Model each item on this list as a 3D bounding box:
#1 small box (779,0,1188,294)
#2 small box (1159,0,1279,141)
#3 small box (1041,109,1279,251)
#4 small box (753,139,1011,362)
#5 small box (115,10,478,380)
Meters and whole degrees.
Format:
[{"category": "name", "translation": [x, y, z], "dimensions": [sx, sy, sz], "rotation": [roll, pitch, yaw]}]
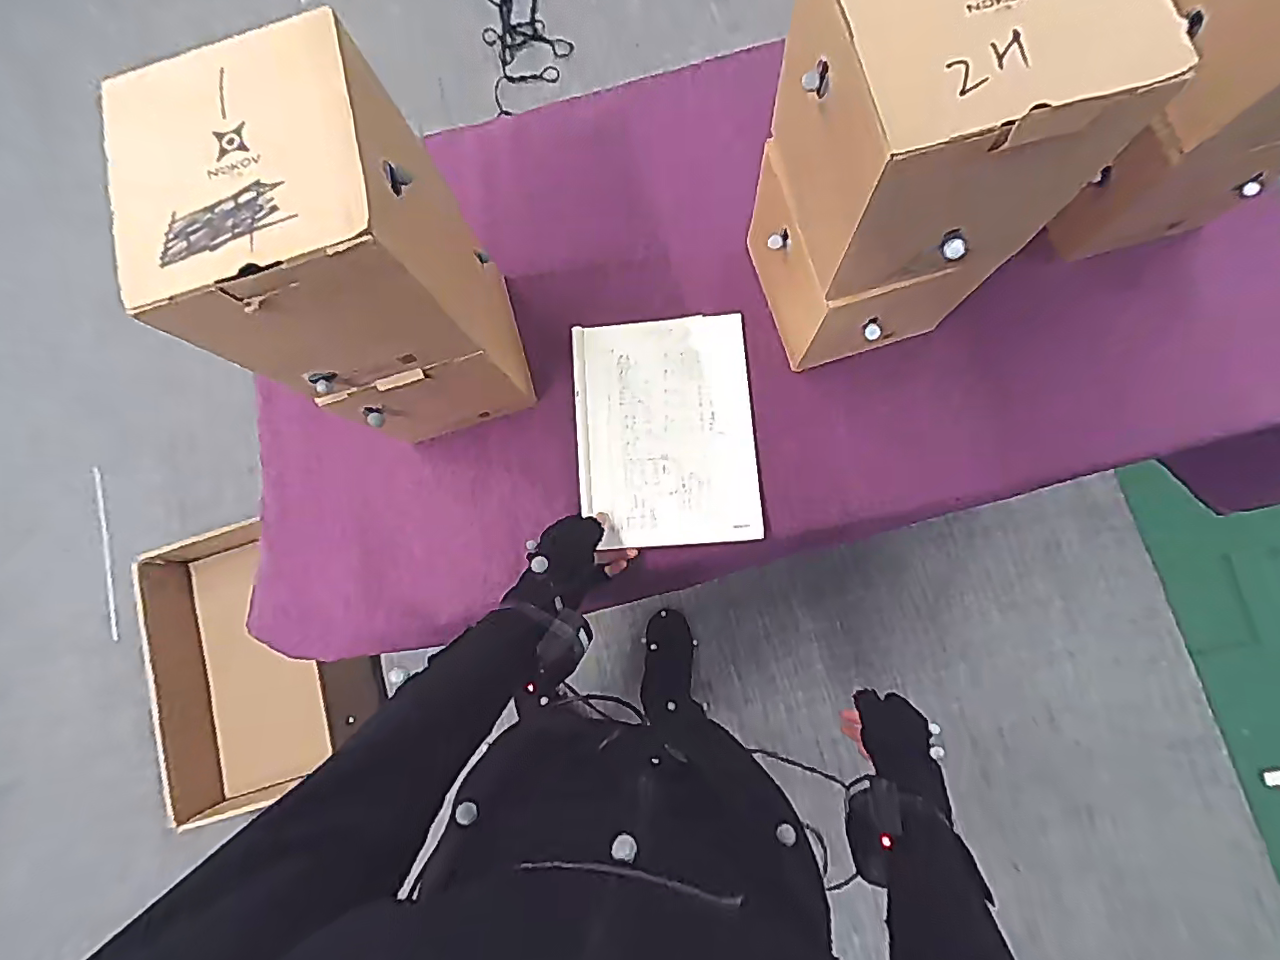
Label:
[{"category": "small box", "translation": [0.209, -0.268, 0.391], "dimensions": [0.168, 0.176, 0.179], "rotation": [-13, 80, 4]}, {"category": "small box", "translation": [0.501, -0.376, 0.378], "dimensions": [0.168, 0.176, 0.179], "rotation": [-14, 82, 2]}, {"category": "small box", "translation": [0.522, -0.355, 0.540], "dimensions": [0.168, 0.176, 0.179], "rotation": [-13, 80, 3]}, {"category": "small box", "translation": [0.224, -0.237, 0.553], "dimensions": [0.168, 0.176, 0.179], "rotation": [-16, 80, 3]}, {"category": "small box", "translation": [-0.244, -0.192, 0.421], "dimensions": [0.168, 0.176, 0.179], "rotation": [-15, 79, 3]}]
